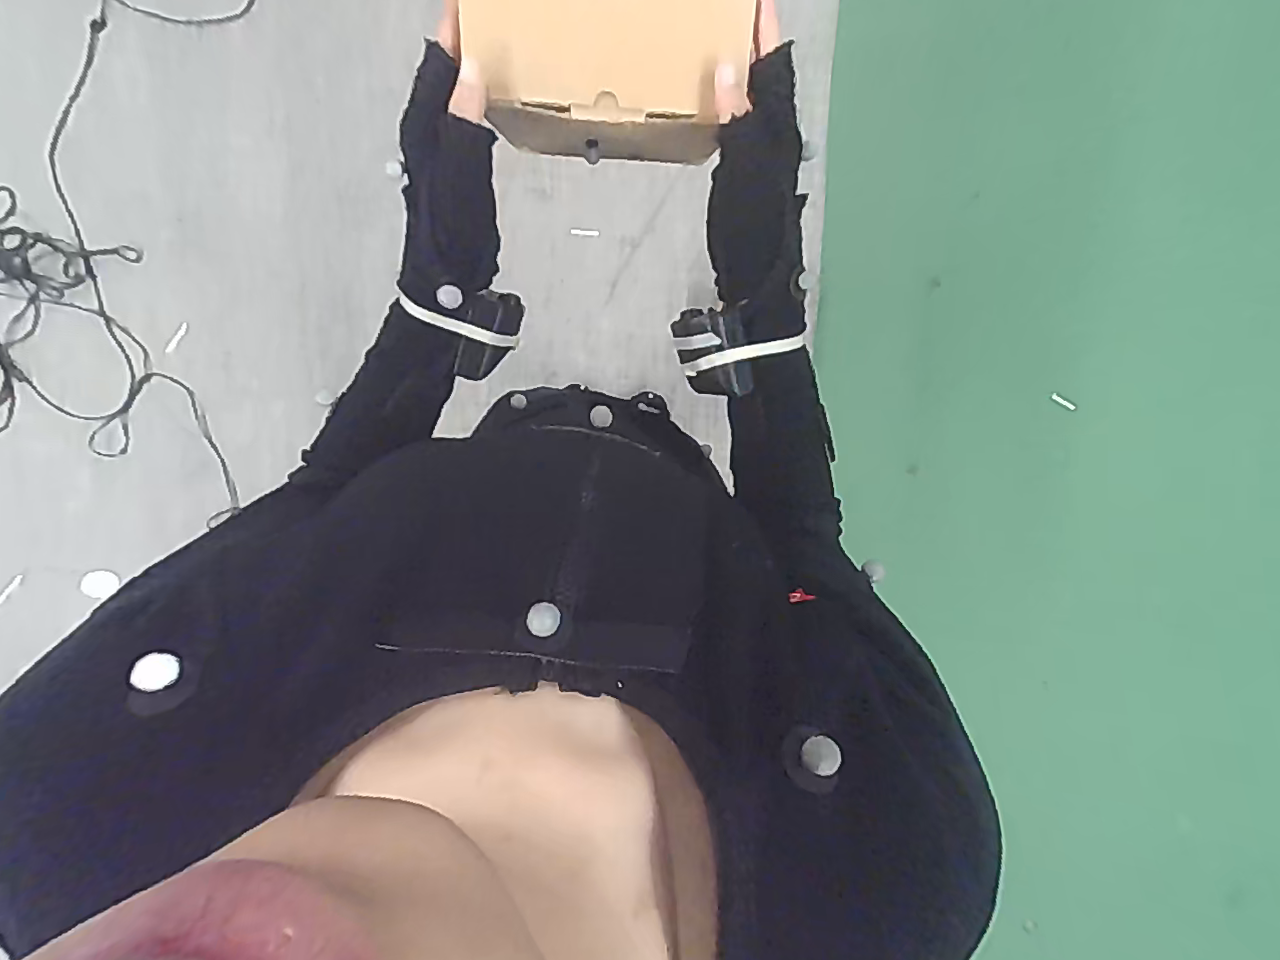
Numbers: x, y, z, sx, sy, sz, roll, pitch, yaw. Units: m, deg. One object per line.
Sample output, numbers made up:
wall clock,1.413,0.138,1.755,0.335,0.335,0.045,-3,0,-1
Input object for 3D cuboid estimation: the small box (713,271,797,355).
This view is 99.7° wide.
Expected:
small box,0.278,-0.407,1.344,0.168,0.176,0.179,2,98,-2

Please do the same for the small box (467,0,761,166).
small box,-0.015,-0.326,0.360,0.168,0.176,0.179,2,113,-3
